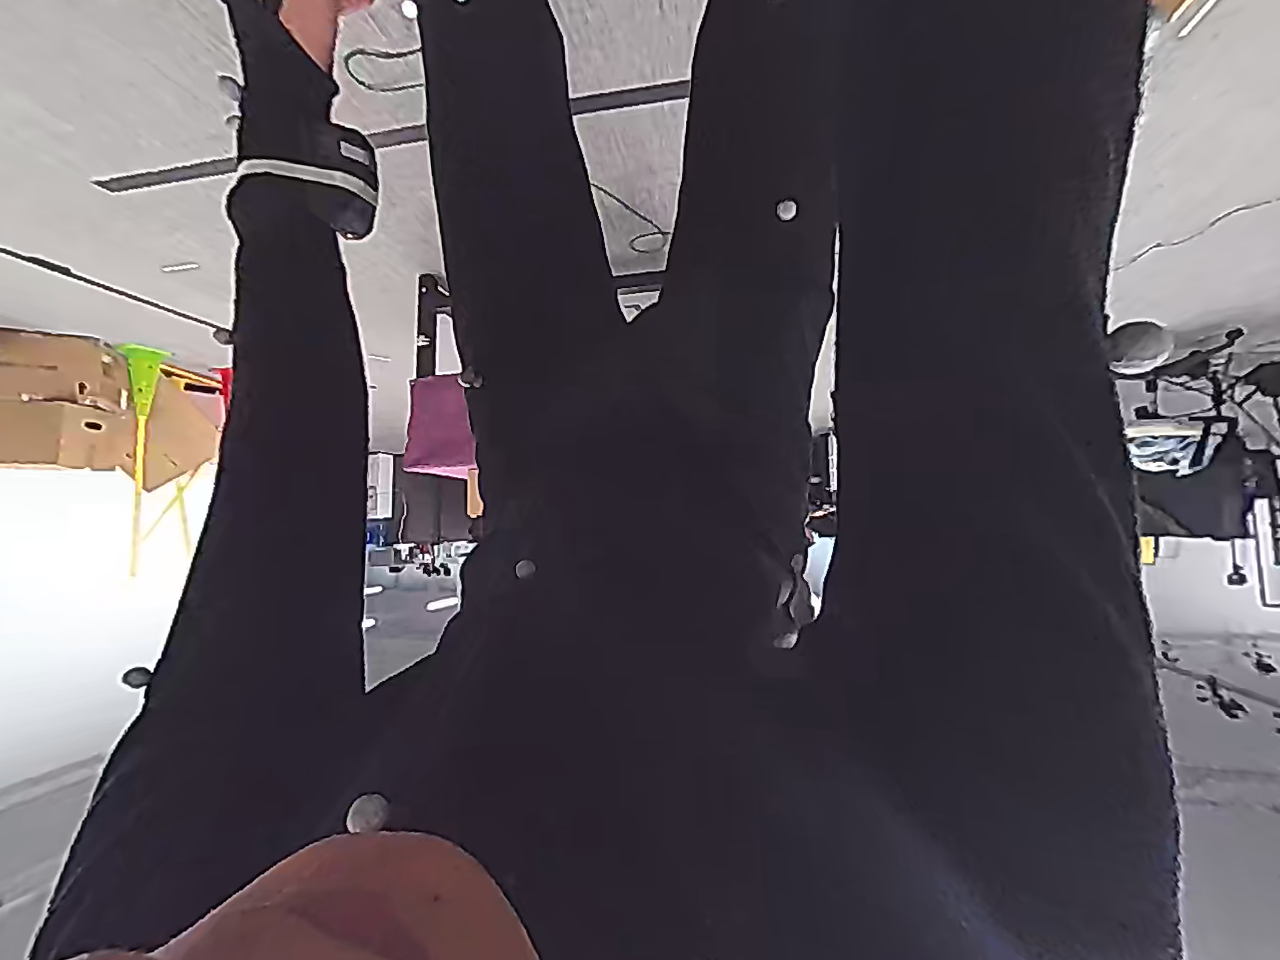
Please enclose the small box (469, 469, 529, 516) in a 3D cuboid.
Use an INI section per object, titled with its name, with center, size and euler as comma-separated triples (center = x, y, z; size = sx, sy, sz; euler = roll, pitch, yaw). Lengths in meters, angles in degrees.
[small box]
center = -0.530, 0.049, 2.034
size = 0.179, 0.176, 0.168
euler = -1, 175, 10
